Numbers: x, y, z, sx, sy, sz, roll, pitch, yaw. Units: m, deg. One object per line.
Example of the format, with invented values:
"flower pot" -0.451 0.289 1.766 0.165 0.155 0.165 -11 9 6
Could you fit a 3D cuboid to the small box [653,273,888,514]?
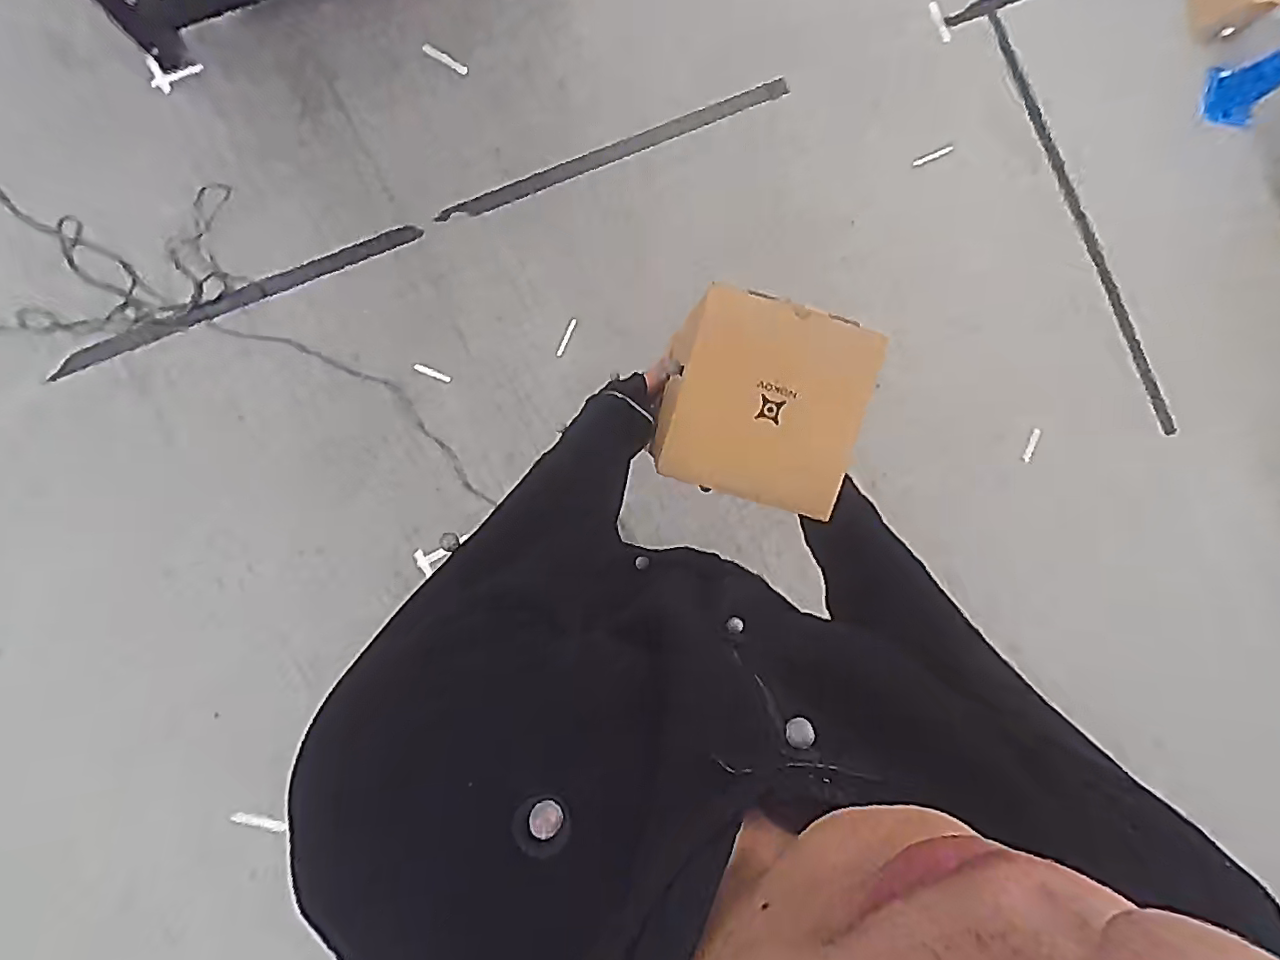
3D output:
"small box" 0.114 -0.085 0.550 0.168 0.176 0.179 15 99 -2
